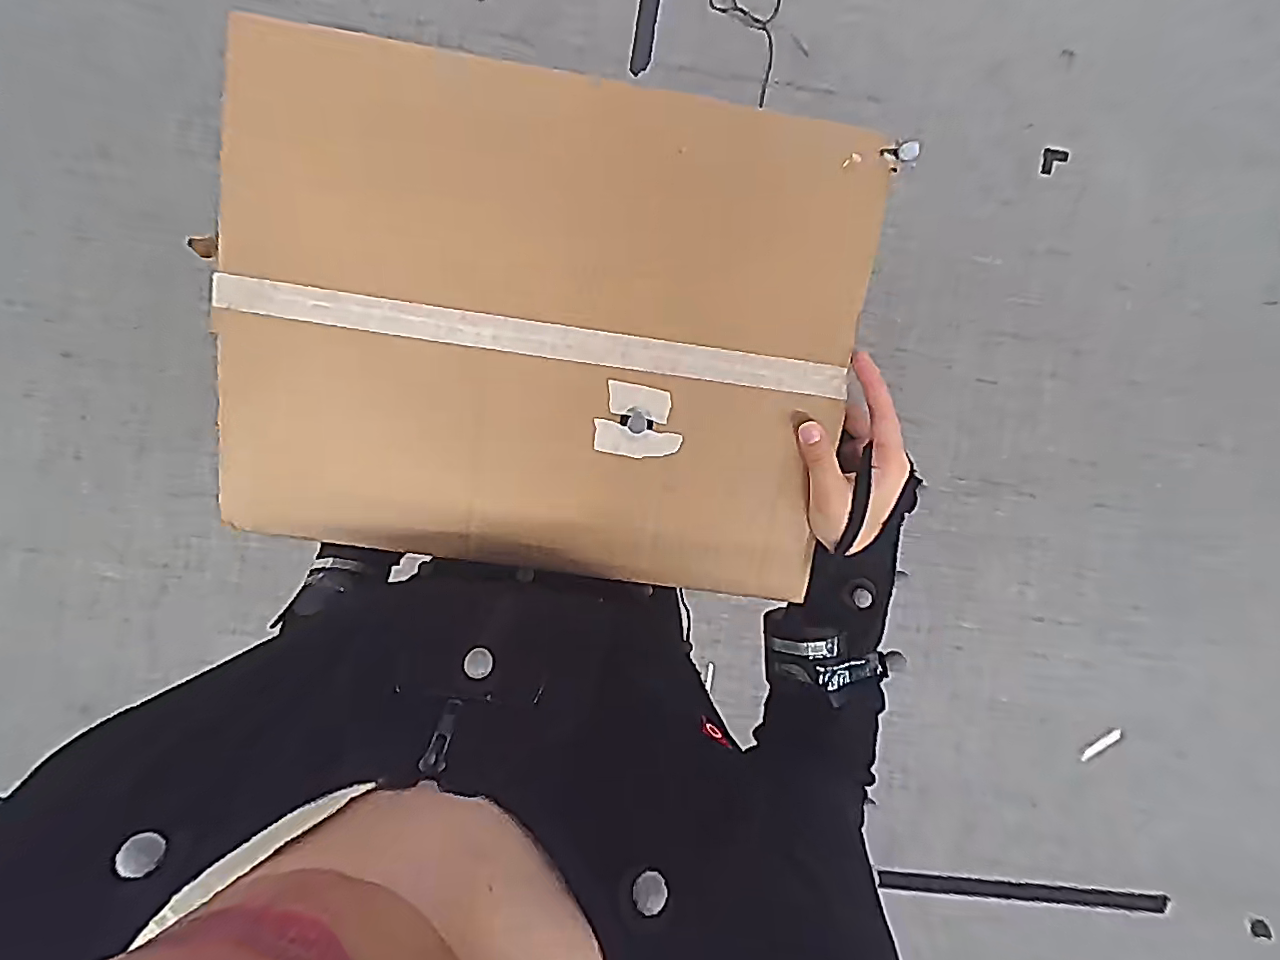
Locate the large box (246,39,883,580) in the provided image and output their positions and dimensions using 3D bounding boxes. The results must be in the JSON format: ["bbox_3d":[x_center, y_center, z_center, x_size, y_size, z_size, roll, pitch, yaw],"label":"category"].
[{"bbox_3d":[-0.064,-0.121,0.508,0.408,0.320,0.320,7,100,-4],"label":"large box"}]
